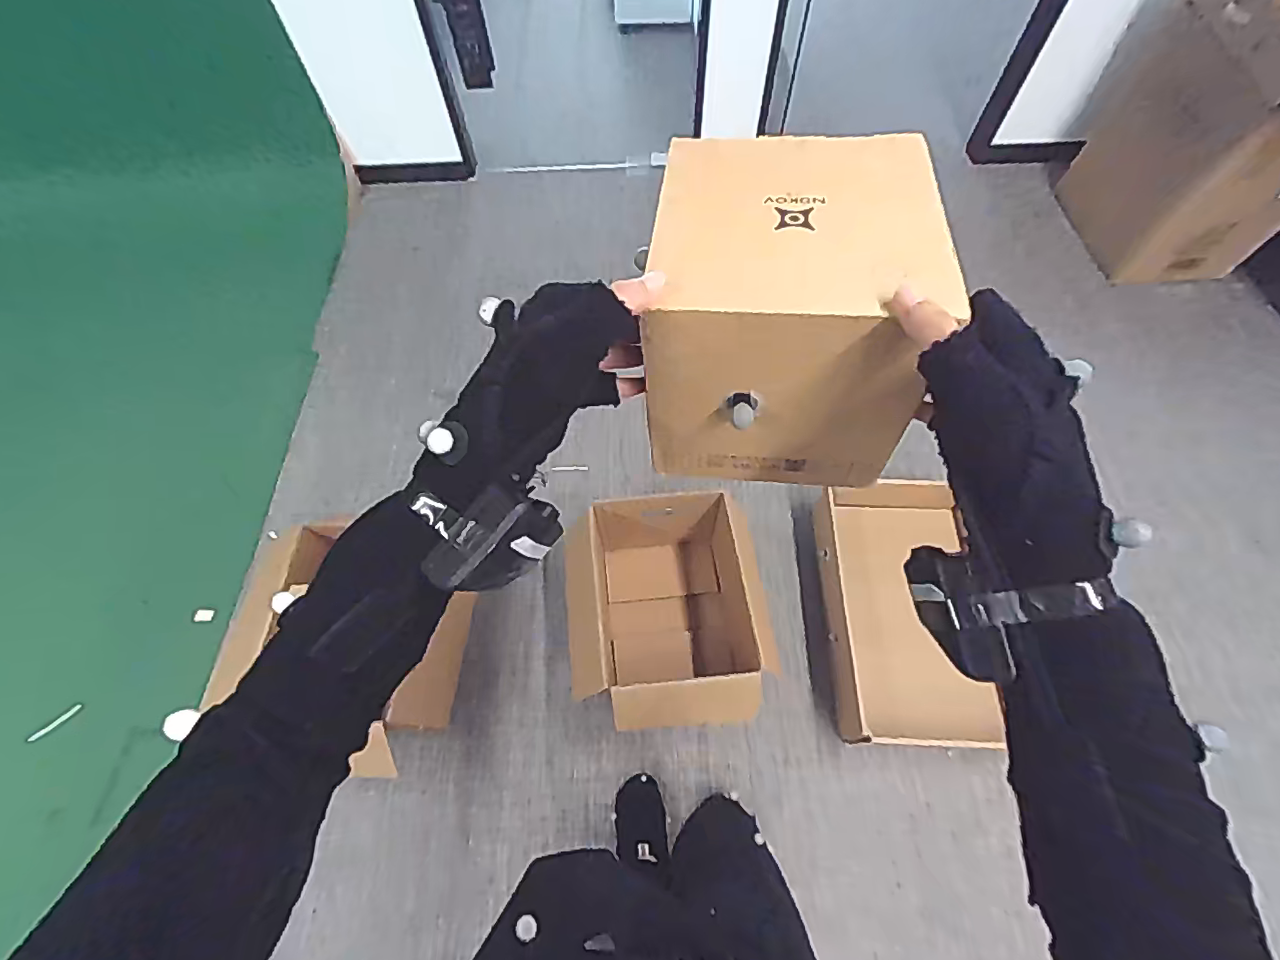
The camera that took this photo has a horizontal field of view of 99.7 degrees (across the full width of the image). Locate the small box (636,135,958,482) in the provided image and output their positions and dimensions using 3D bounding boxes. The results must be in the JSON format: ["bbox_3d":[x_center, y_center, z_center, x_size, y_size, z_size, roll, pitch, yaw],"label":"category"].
[{"bbox_3d":[0.096,-0.114,0.389,0.168,0.176,0.179,4,58,8],"label":"small box"}]
